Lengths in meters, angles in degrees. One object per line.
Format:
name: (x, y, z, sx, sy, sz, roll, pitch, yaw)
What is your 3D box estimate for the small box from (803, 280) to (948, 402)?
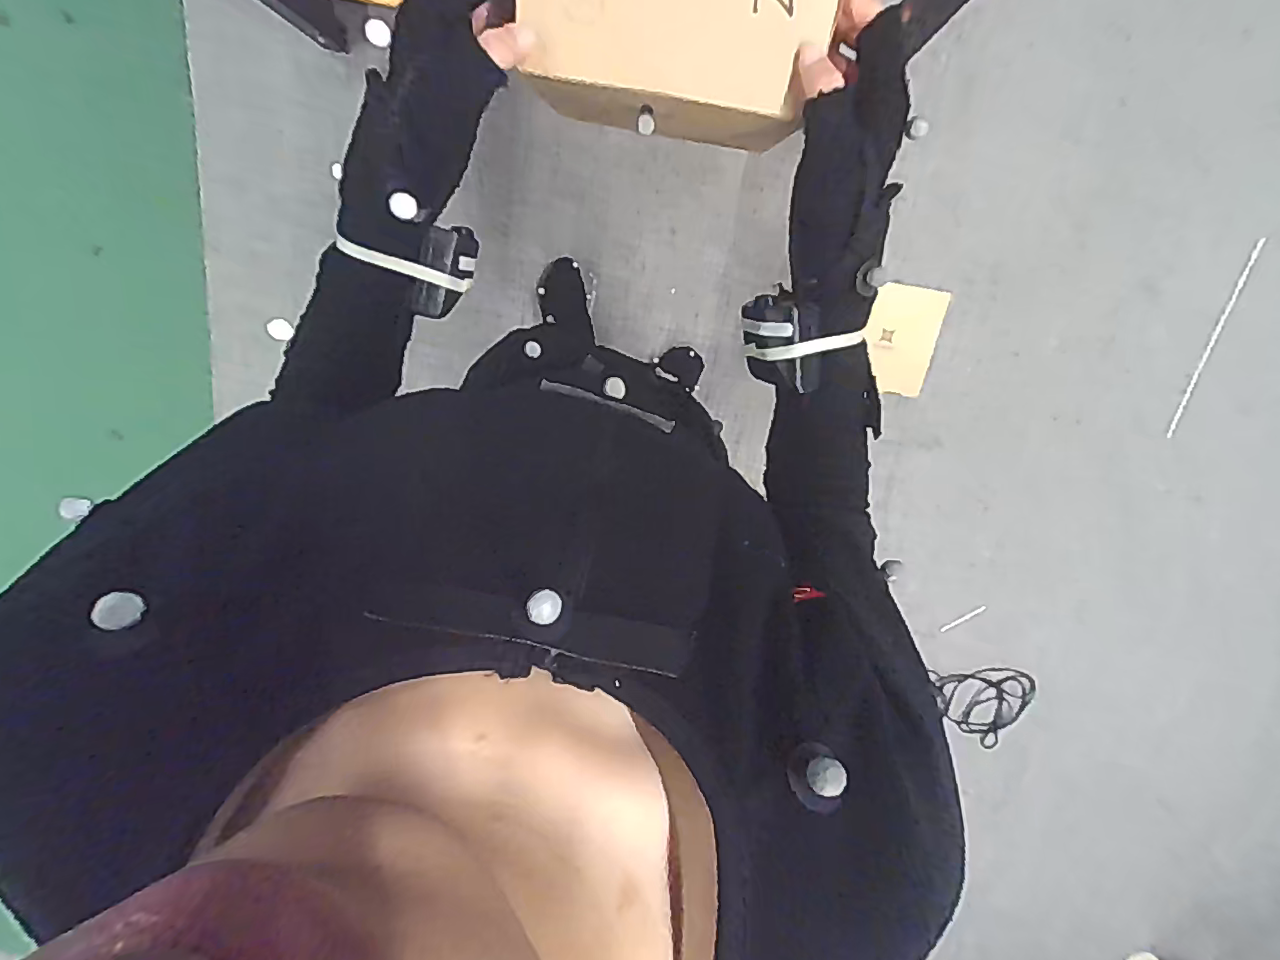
small box: (0.407, -0.251, 0.971, 0.168, 0.176, 0.179, 10, 108, 0)

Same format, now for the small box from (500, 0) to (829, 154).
small box: (0.022, -0.322, 0.347, 0.179, 0.176, 0.168, 9, 116, -2)

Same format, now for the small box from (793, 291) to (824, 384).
small box: (0.427, -0.292, 1.128, 0.168, 0.176, 0.179, 7, 107, 1)
